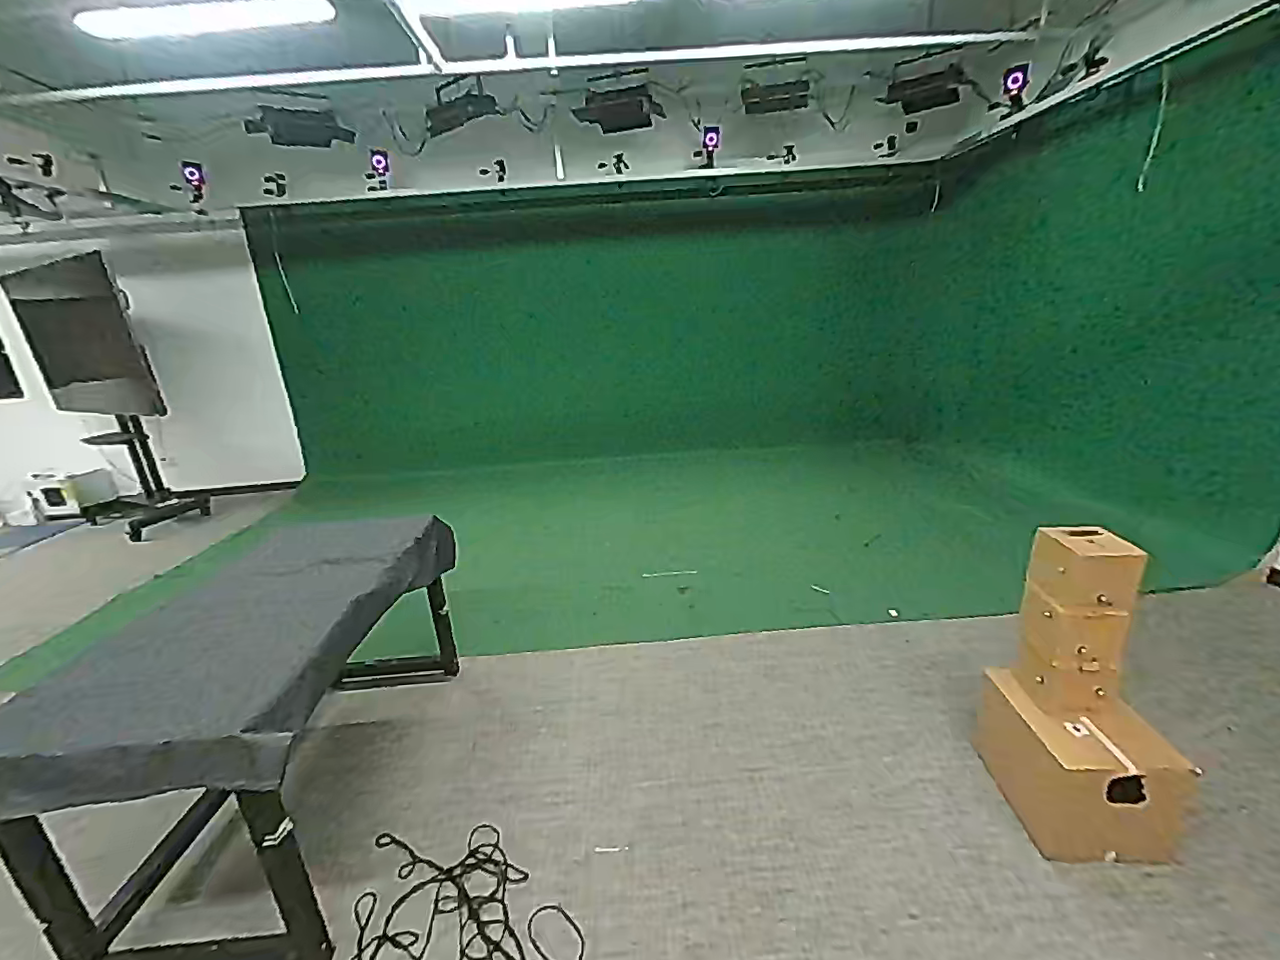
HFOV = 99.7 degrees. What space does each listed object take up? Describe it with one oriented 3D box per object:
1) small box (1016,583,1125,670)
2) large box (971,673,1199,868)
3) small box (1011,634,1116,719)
[{"bbox_3d":[1.191,0.407,1.513,0.168,0.176,0.179,-1,18,7],"label":"small box"},{"bbox_3d":[1.232,0.814,1.560,0.320,0.320,0.408,-3,18,5],"label":"large box"},{"bbox_3d":[1.207,0.563,1.554,0.168,0.176,0.179,-1,17,5],"label":"small box"}]
